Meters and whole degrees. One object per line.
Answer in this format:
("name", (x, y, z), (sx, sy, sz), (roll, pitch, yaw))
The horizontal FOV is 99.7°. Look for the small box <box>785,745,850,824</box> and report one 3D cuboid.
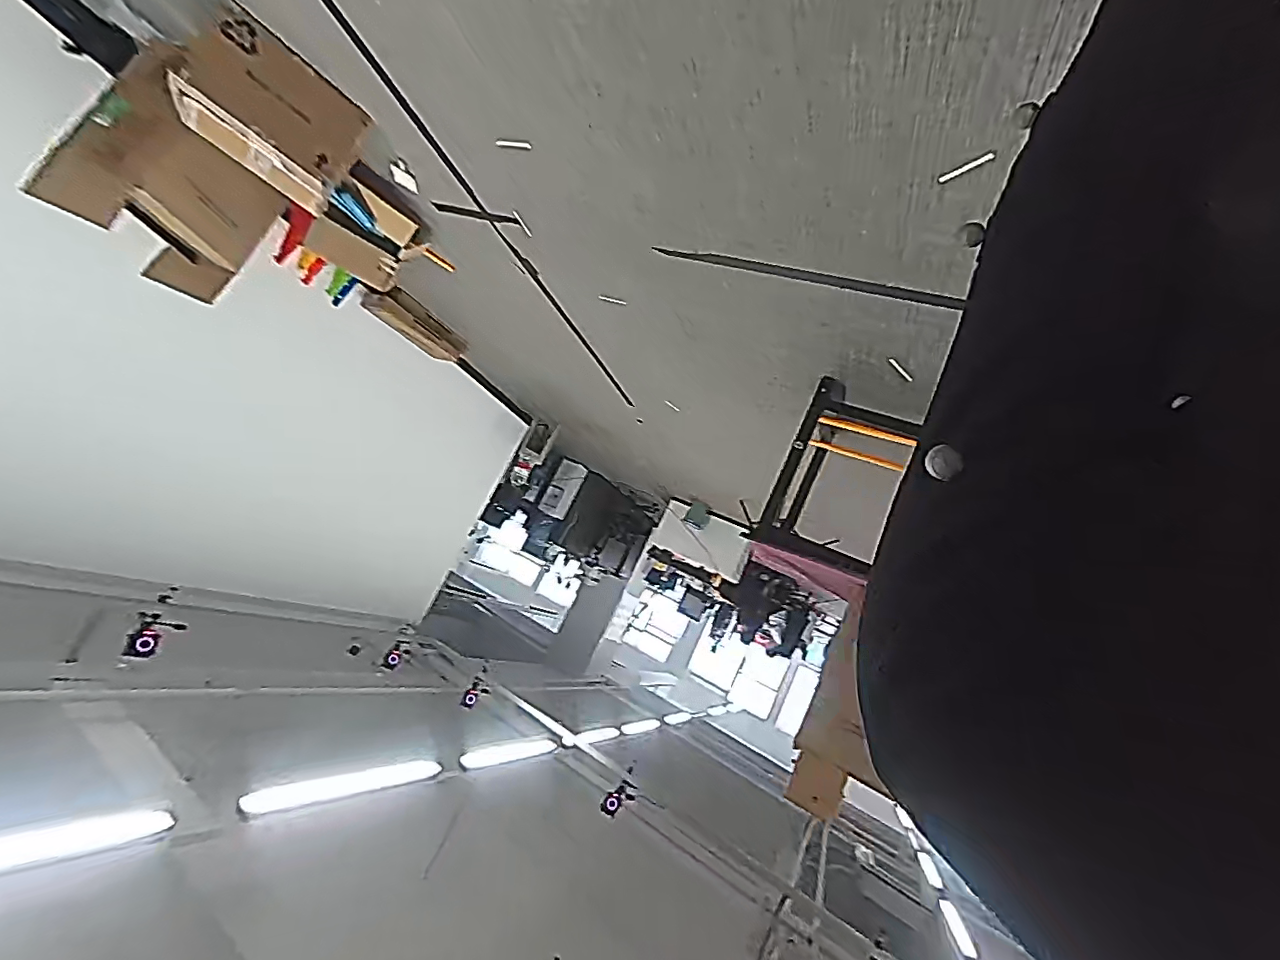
("small box", (0.630, 1.070, 1.913), (0.179, 0.176, 0.168), (20, 167, 25))
